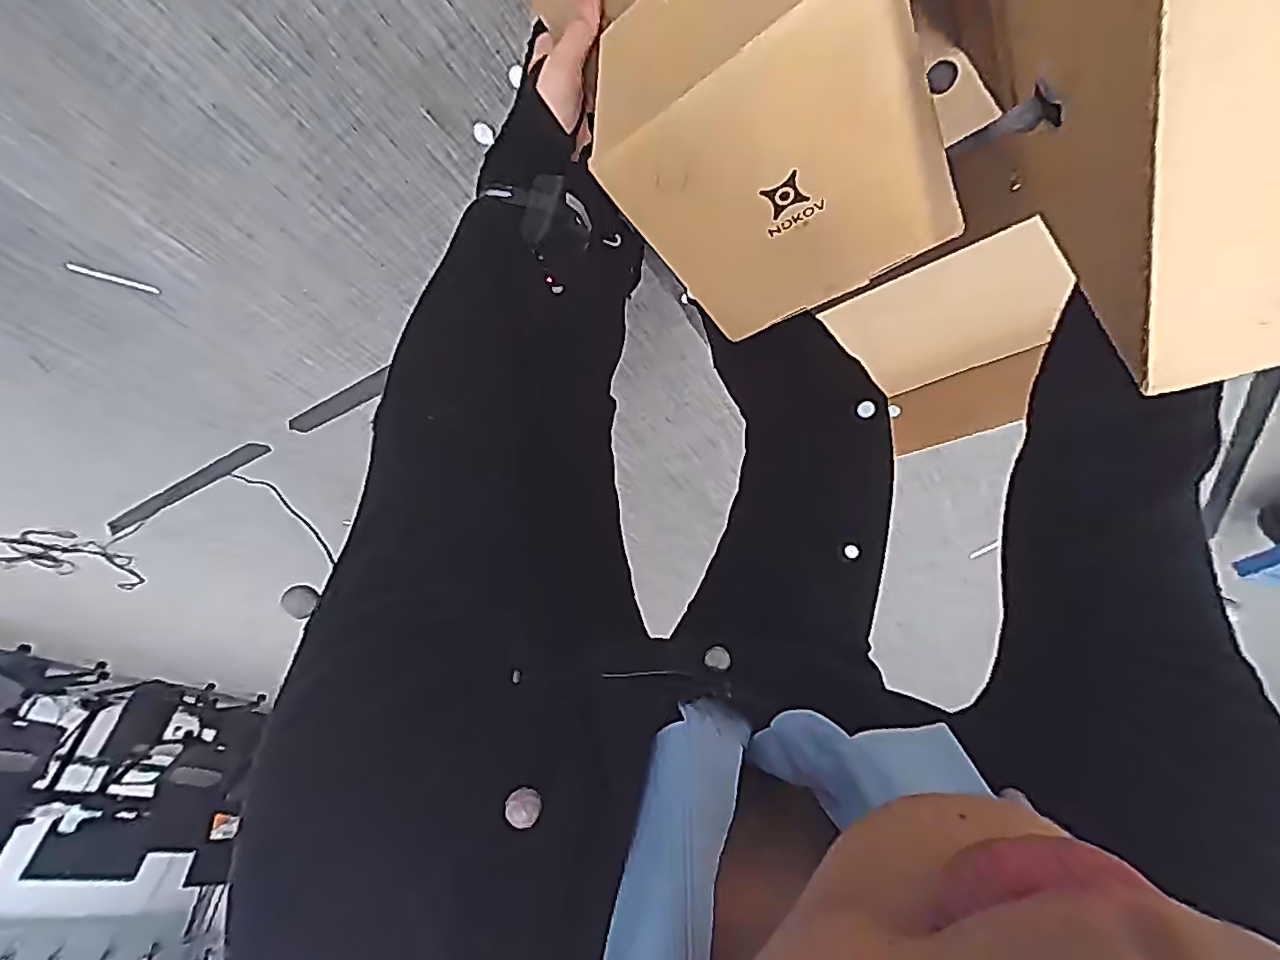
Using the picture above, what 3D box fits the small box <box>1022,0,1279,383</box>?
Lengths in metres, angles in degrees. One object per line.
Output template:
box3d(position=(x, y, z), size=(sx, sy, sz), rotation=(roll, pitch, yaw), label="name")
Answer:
box3d(position=(0.233, -0.166, 0.160), size=(0.179, 0.176, 0.168), rotation=(-19, 140, 31), label="small box")
